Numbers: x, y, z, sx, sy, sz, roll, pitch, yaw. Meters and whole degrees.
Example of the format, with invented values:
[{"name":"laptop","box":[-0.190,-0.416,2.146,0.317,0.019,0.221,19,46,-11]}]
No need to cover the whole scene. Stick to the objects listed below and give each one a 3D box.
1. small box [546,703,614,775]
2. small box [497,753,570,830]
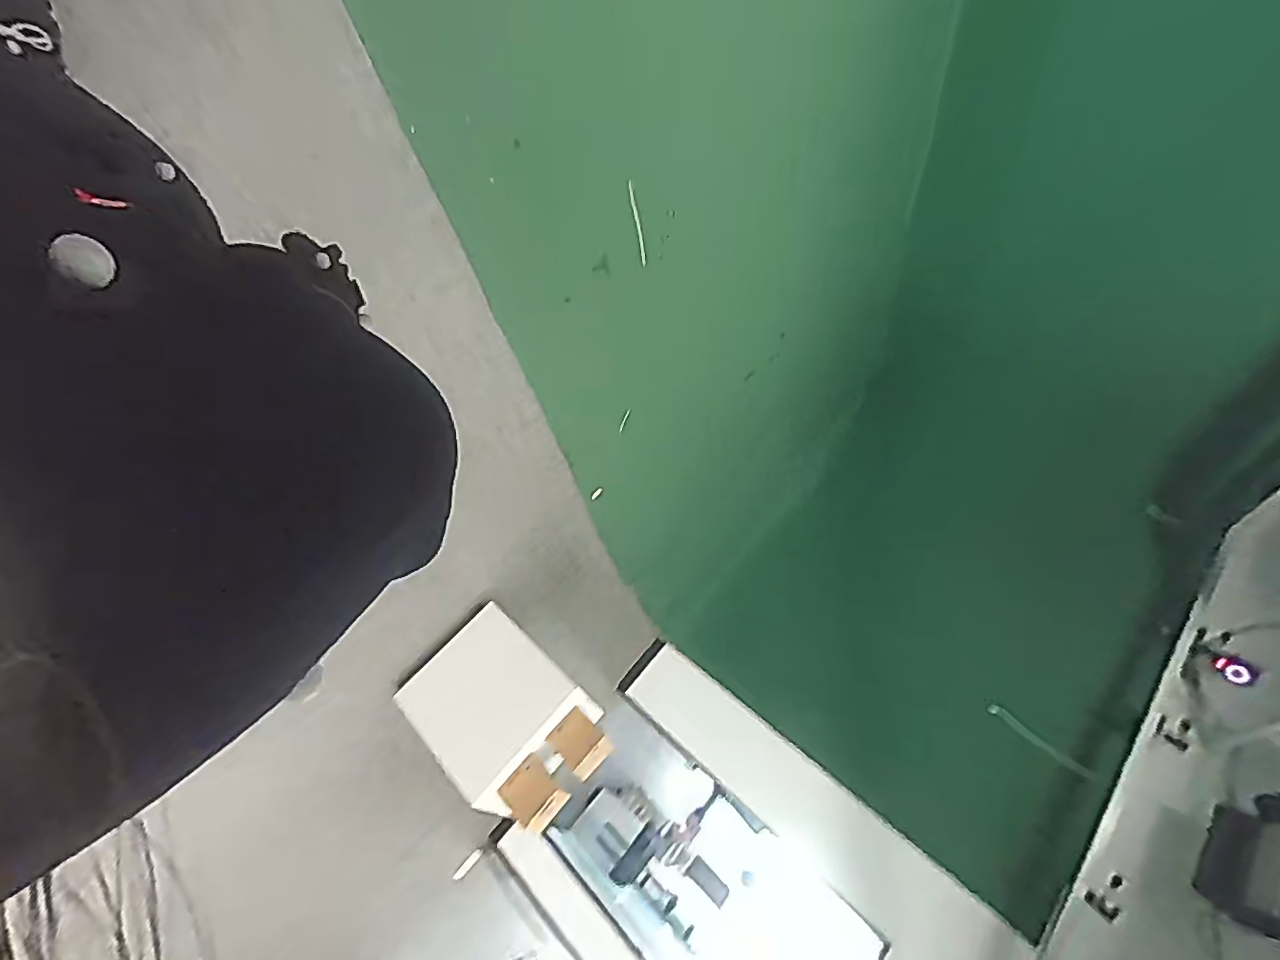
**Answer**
[{"name":"small box","box":[-0.227,0.975,2.043,0.168,0.176,0.179,-45,148,-22]},{"name":"small box","box":[-0.384,1.122,1.952,0.168,0.176,0.179,-45,148,-21]}]
